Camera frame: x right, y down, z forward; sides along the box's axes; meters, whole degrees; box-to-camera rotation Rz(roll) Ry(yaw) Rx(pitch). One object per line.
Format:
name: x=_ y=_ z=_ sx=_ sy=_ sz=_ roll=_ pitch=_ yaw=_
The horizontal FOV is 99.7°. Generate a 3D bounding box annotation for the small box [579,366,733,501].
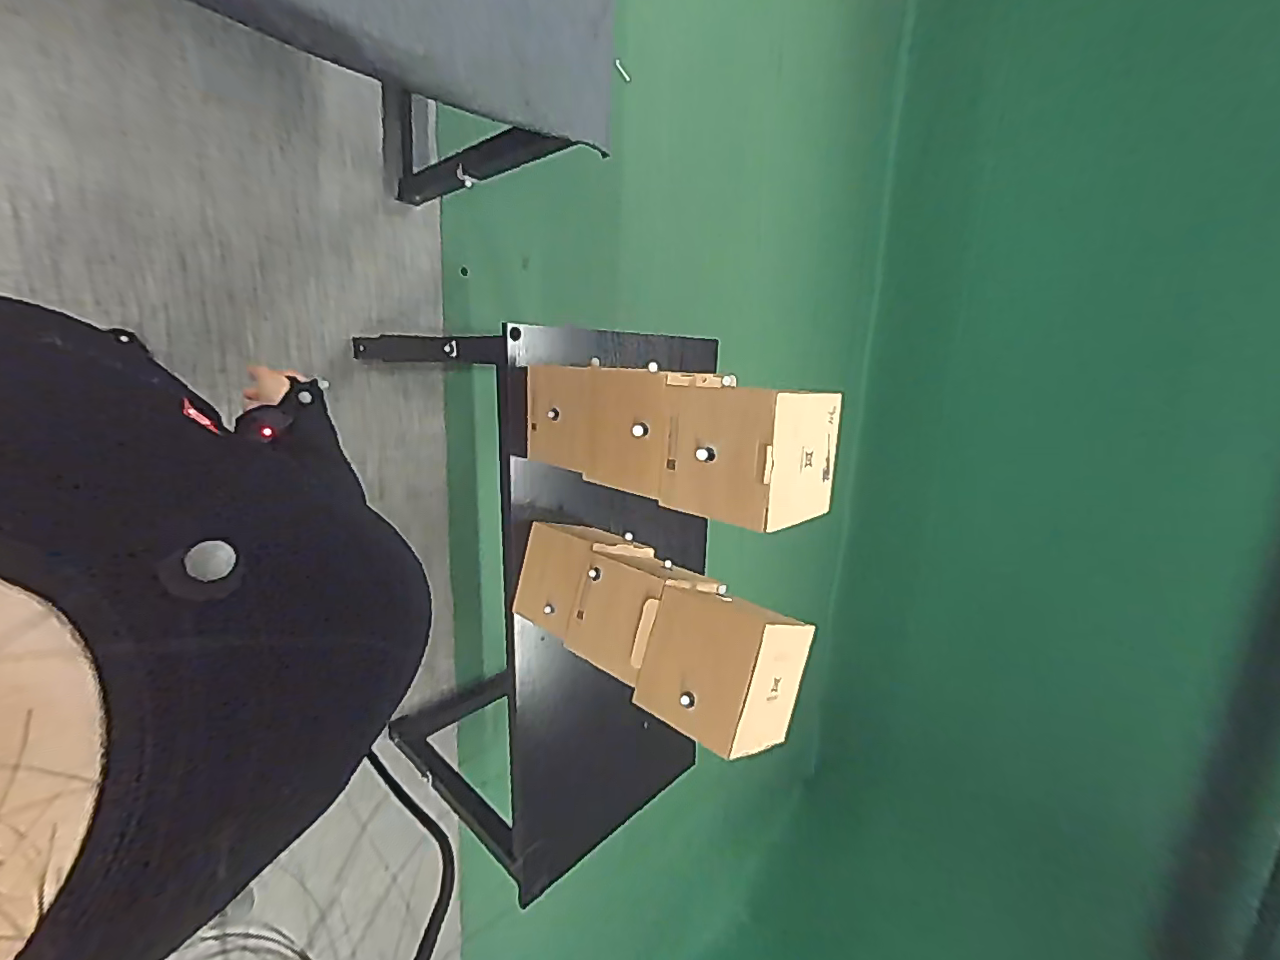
small box: x=0.020 y=-0.079 z=0.830 sx=0.168 sy=0.176 sz=0.179 roll=-10 pitch=108 yaw=-46

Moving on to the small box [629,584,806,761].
small box: x=0.108 y=0.264 z=0.774 sx=0.168 sy=0.176 sz=0.179 roll=20 pitch=86 yaw=-50

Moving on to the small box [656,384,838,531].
small box: x=0.139 y=-0.039 z=0.722 sx=0.179 sy=0.176 sz=0.168 roll=-8 pitch=106 yaw=-45

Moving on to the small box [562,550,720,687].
small box: x=-0.001 y=0.220 z=0.888 sx=0.179 sy=0.176 sz=0.168 roll=17 pitch=89 yaw=-49

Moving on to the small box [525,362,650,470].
small box: x=-0.086 y=-0.117 z=0.947 sx=0.179 sy=0.176 sz=0.168 roll=-10 pitch=109 yaw=-46
